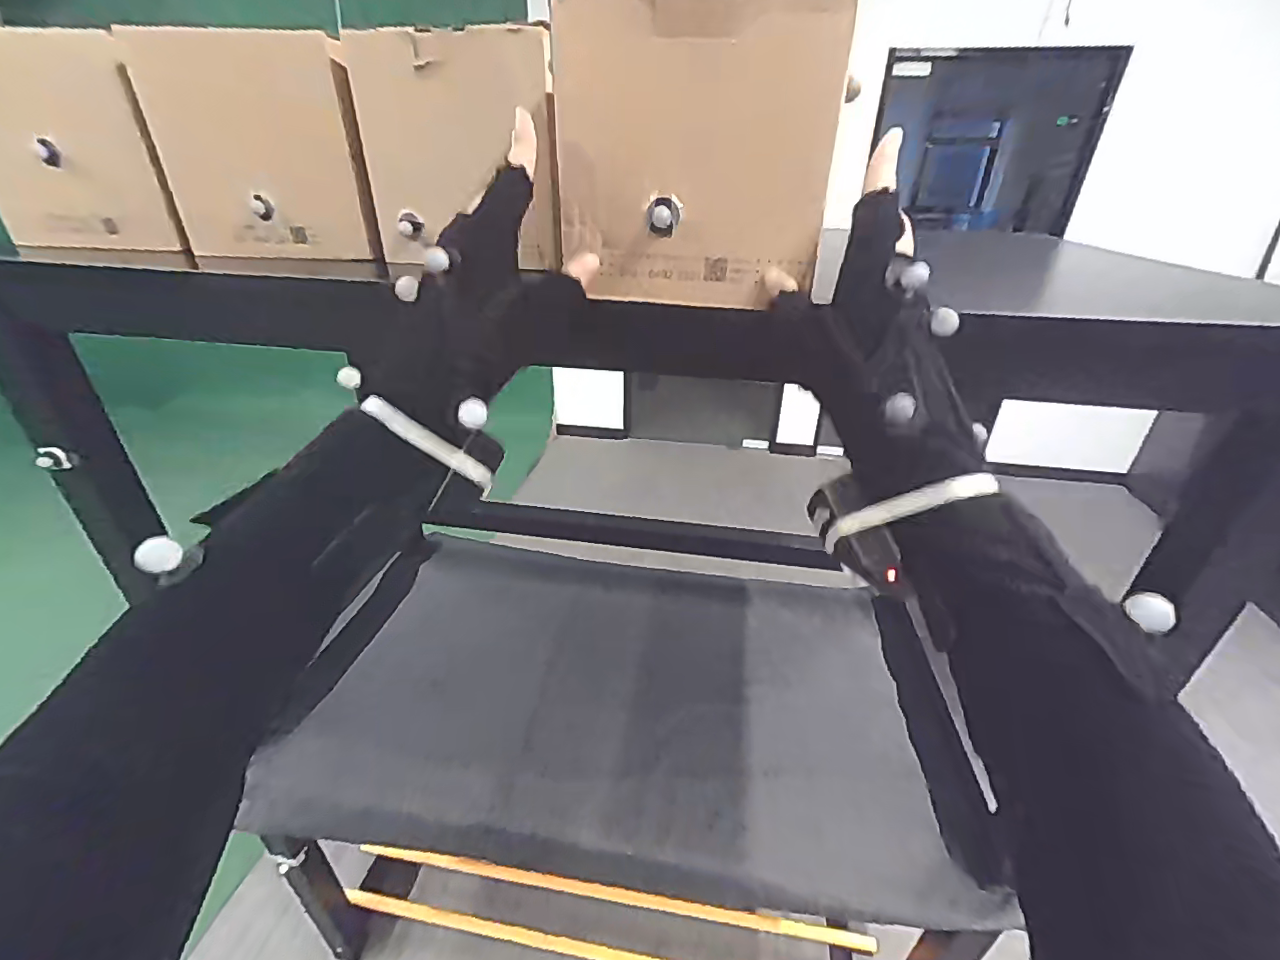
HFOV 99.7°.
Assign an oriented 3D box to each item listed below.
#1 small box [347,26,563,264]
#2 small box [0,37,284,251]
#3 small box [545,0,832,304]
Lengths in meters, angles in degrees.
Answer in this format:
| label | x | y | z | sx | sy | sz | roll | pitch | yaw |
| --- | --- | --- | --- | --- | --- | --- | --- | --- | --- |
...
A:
| label | x | y | z | sx | sy | sz | roll | pitch | yaw |
| --- | --- | --- | --- | --- | --- | --- | --- | --- | --- |
| small box | -0.138 | -0.308 | 0.523 | 0.168 | 0.176 | 0.179 | 7 | 29 | 10 |
| small box | -0.517 | -0.340 | 0.567 | 0.168 | 0.176 | 0.179 | 4 | 28 | 1 |
| small box | 0.037 | -0.239 | 0.406 | 0.168 | 0.176 | 0.179 | 6 | 30 | 9 |
